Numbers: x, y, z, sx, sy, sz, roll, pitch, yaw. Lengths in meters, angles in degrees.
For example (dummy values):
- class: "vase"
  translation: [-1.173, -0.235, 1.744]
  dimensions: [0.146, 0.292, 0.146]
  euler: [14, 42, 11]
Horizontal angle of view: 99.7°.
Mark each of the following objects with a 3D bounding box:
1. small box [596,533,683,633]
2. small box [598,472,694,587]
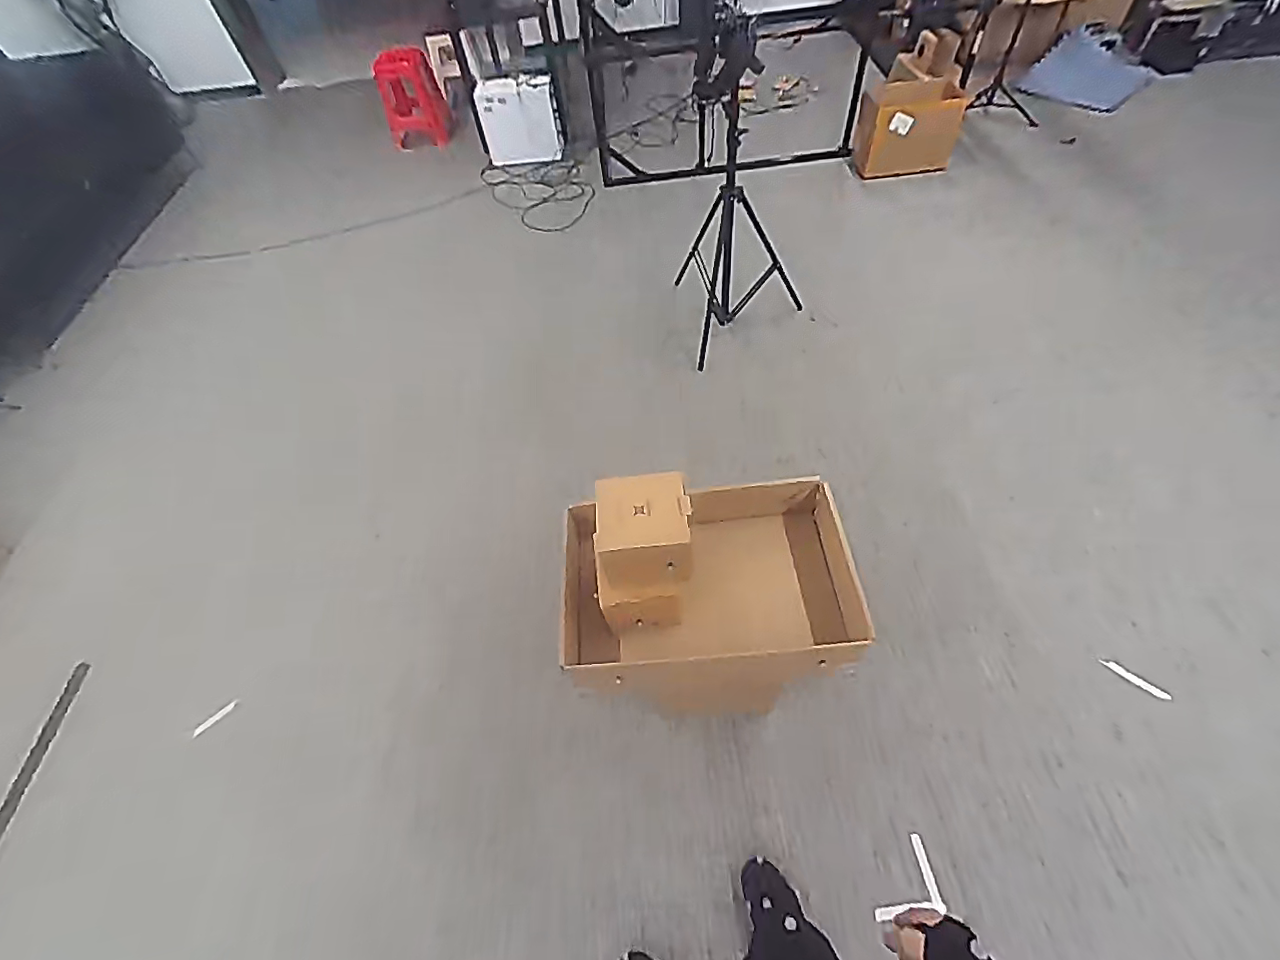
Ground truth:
- class: "small box"
  translation: [0.000, 0.220, 1.207]
  dimensions: [0.168, 0.176, 0.179]
  euler: [-10, 54, 0]
- class: "small box"
  translation: [0.013, 0.103, 1.086]
  dimensions: [0.179, 0.176, 0.168]
  euler: [-6, 53, 3]
